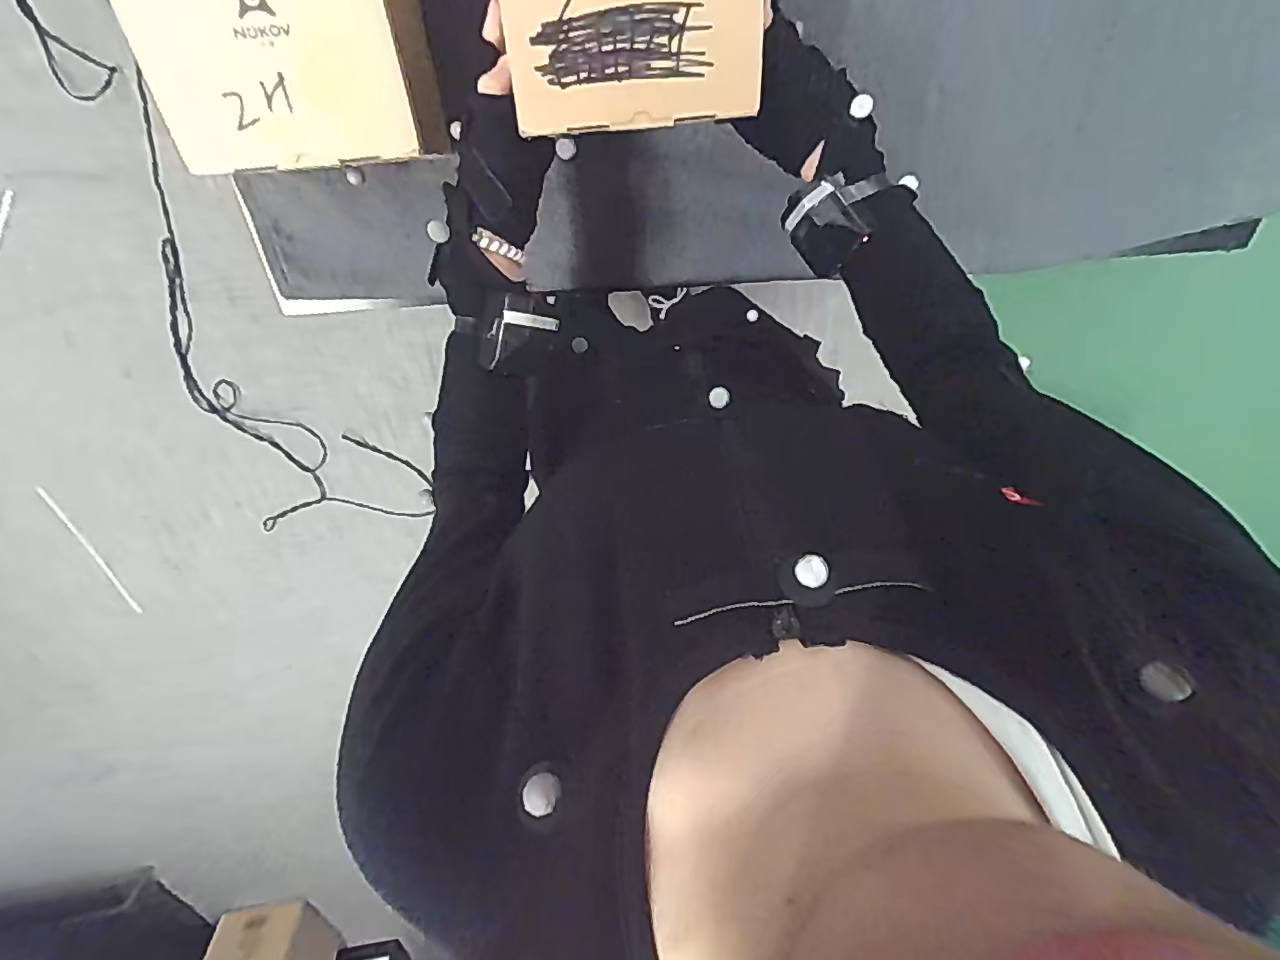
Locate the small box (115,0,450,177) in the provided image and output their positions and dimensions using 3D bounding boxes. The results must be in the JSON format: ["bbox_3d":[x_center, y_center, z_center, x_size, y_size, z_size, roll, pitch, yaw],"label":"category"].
[{"bbox_3d":[-0.258,-0.340,0.419,0.168,0.176,0.179,-8,122,-5],"label":"small box"}]
